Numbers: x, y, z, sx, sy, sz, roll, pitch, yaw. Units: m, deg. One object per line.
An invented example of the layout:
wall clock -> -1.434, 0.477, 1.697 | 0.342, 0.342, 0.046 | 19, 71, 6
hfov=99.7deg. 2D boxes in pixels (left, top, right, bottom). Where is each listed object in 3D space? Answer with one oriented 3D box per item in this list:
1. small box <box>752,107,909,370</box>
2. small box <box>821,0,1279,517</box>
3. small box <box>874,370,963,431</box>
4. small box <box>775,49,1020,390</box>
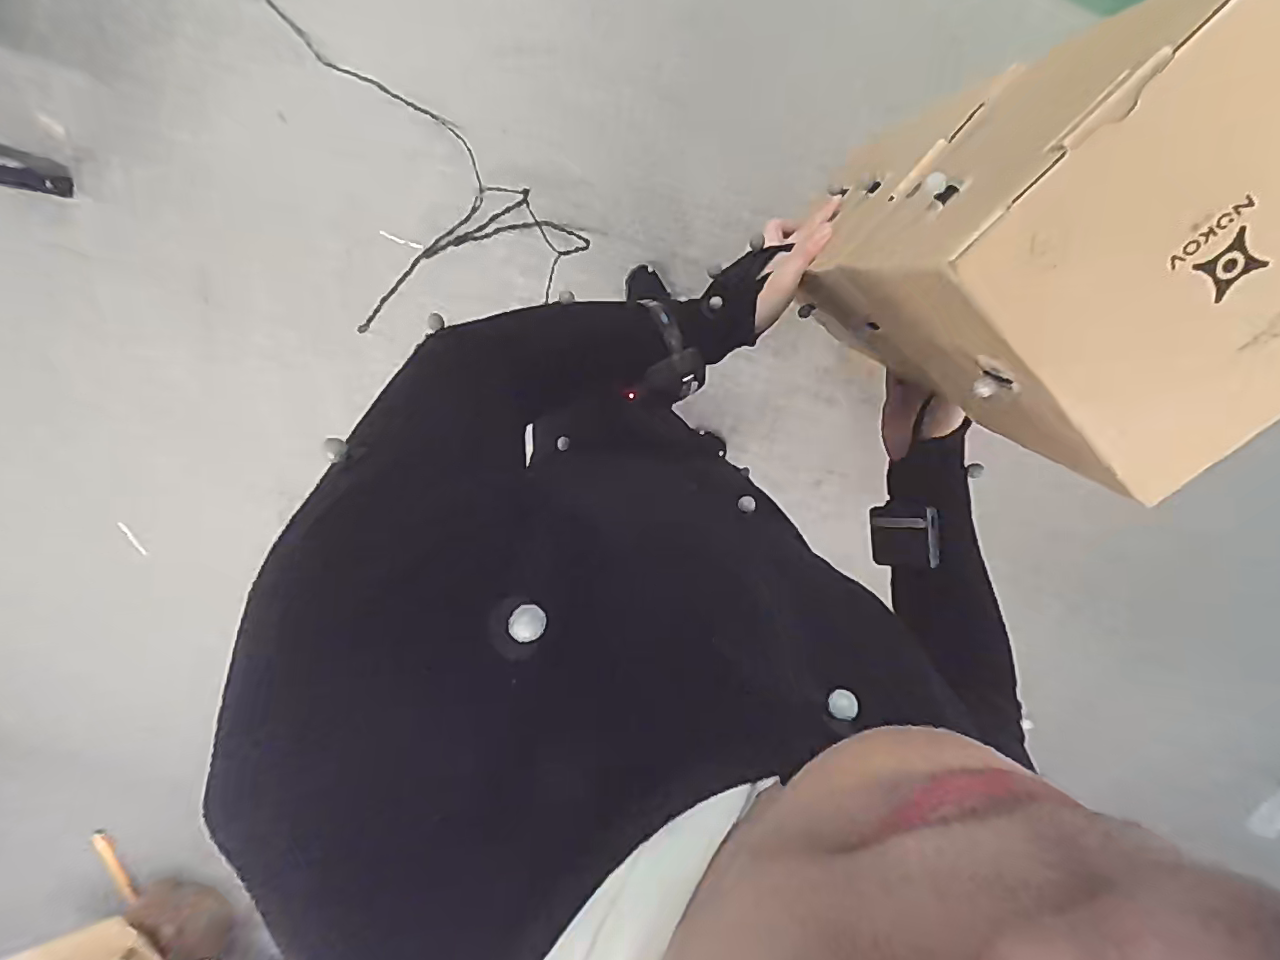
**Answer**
small box -> 0.240, -0.250, 0.593 | 0.168, 0.176, 0.179 | 37, 108, -12
small box -> 0.229, -0.118, 0.293 | 0.179, 0.176, 0.168 | 42, 107, -15
small box -> 0.598, -0.227, 1.079 | 0.168, 0.176, 0.179 | 35, 105, -8
small box -> 0.236, -0.184, 0.443 | 0.179, 0.176, 0.168 | 38, 108, -12
